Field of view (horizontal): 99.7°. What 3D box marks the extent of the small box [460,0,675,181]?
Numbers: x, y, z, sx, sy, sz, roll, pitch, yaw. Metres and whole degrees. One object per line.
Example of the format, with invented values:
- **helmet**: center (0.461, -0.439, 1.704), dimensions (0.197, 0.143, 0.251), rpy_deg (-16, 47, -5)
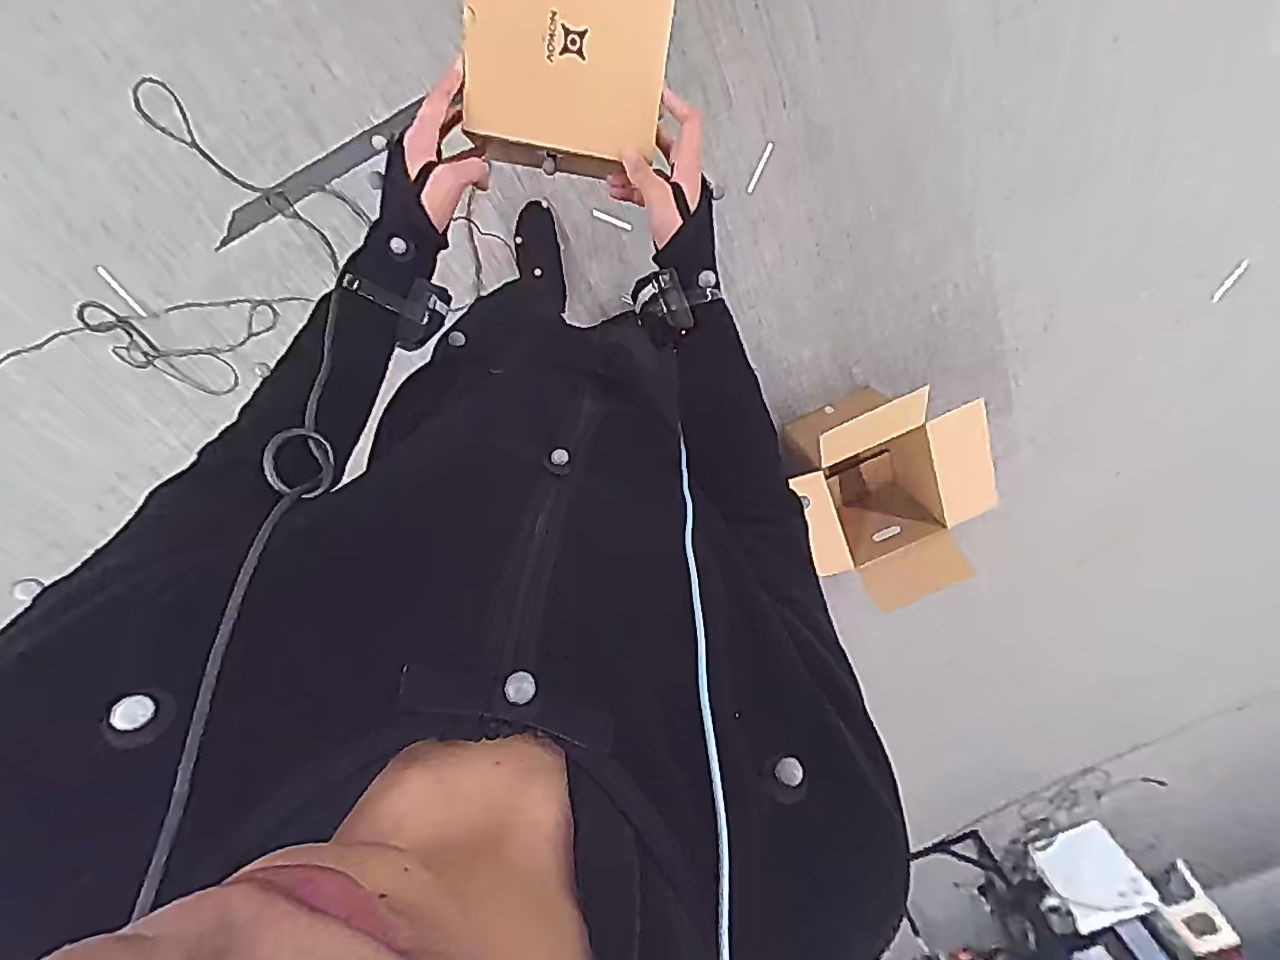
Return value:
- **small box**: center (-0.072, -0.405, 0.535), dimensions (0.179, 0.176, 0.168), rpy_deg (5, 113, -9)
